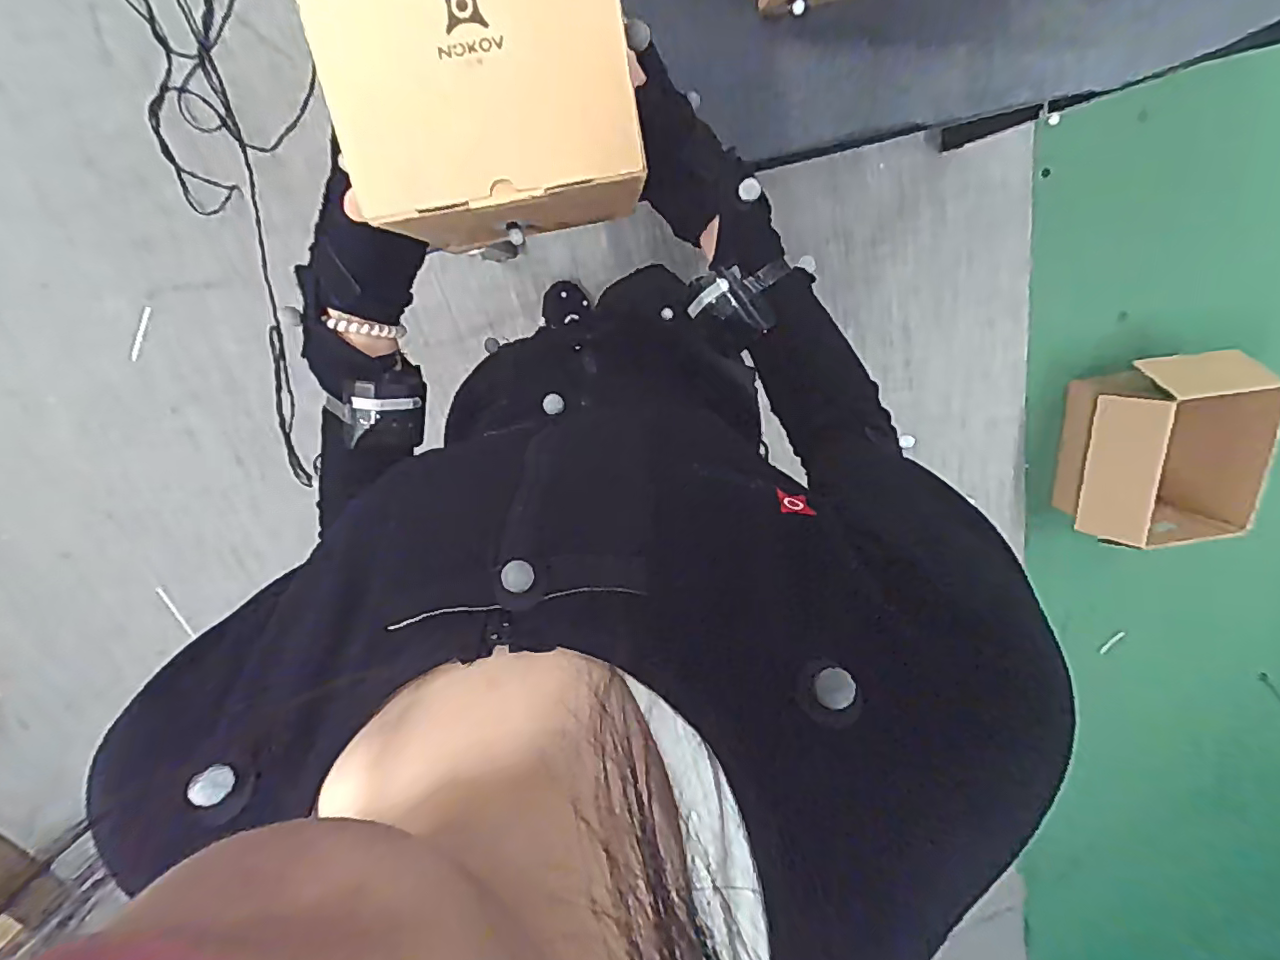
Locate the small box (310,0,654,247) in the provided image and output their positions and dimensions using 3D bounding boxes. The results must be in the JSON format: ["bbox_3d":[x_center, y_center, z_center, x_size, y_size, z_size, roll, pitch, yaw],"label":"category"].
[{"bbox_3d":[-0.091,-0.267,0.357,0.168,0.176,0.179,-11,110,0],"label":"small box"}]

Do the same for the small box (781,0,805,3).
[{"bbox_3d":[0.201,-0.571,0.481,0.168,0.176,0.179,-14,110,-2],"label":"small box"}]
